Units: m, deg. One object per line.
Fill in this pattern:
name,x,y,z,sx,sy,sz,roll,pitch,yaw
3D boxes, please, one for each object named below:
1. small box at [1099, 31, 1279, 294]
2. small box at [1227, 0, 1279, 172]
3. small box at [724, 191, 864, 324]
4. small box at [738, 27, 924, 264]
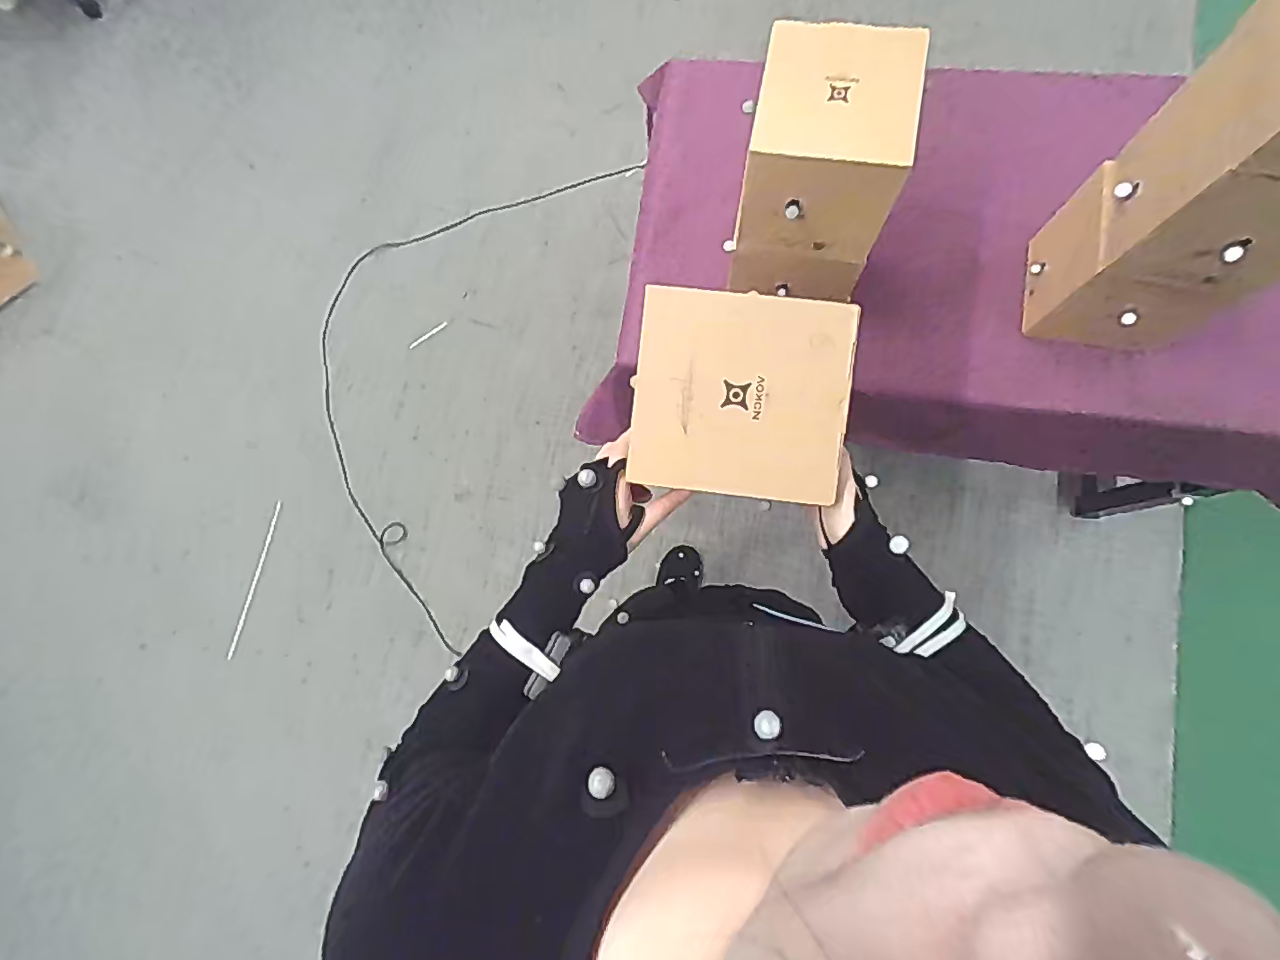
small box,0.651,-0.330,0.589,0.168,0.176,0.179,14,80,9
small box,0.632,-0.365,0.428,0.168,0.176,0.179,12,79,9
small box,0.227,-0.349,0.804,0.179,0.176,0.168,9,78,8
small box,0.214,-0.386,0.646,0.168,0.176,0.179,10,78,8
